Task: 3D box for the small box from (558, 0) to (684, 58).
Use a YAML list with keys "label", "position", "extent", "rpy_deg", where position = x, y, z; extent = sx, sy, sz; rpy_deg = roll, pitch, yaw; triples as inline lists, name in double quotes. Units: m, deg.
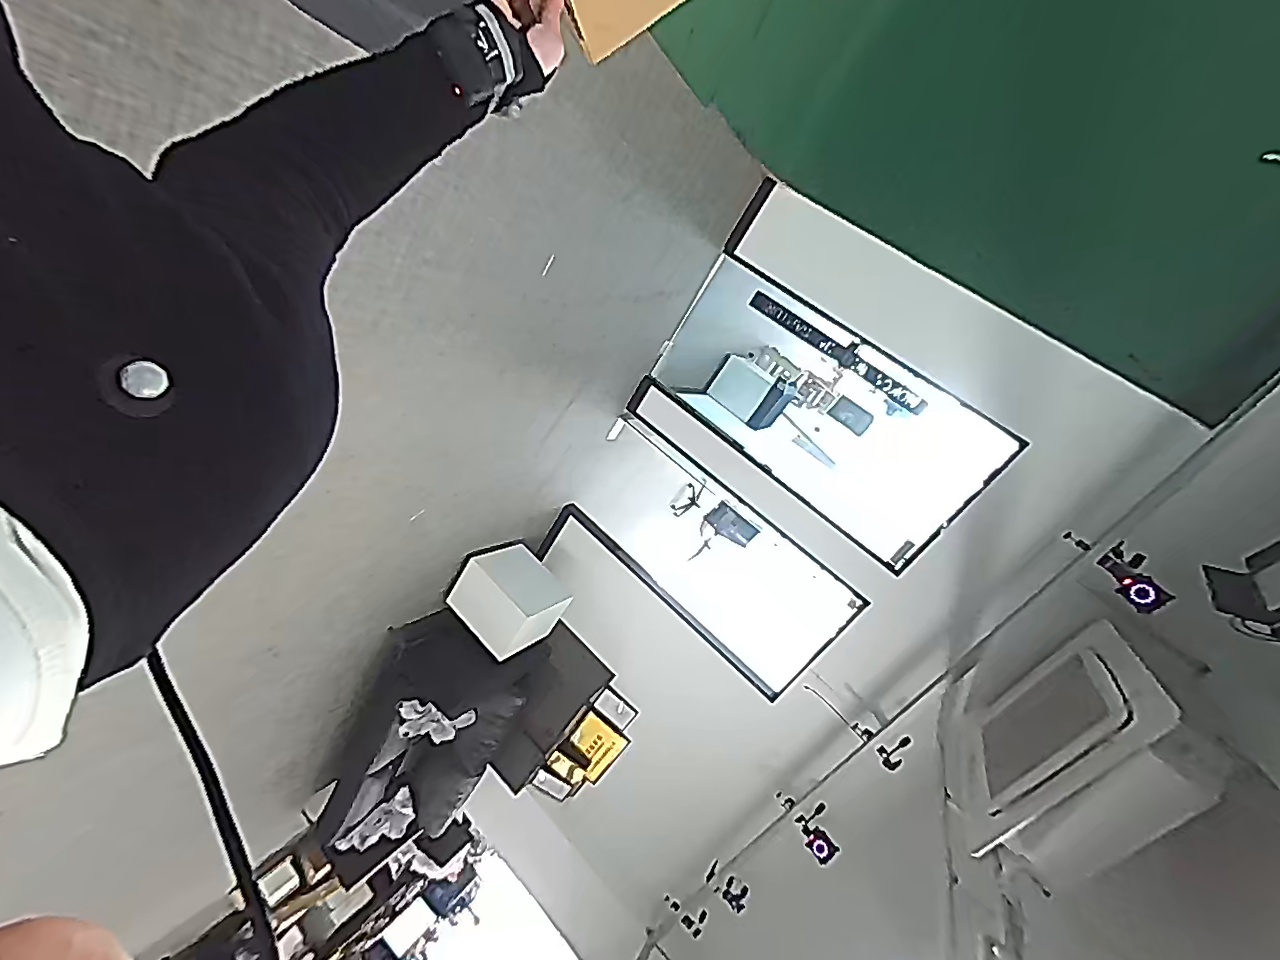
- label: "small box"
  position: [-0.033, -0.577, 0.515]
  extent: [0.179, 0.176, 0.168]
  rpy_deg: [-30, 169, 8]
